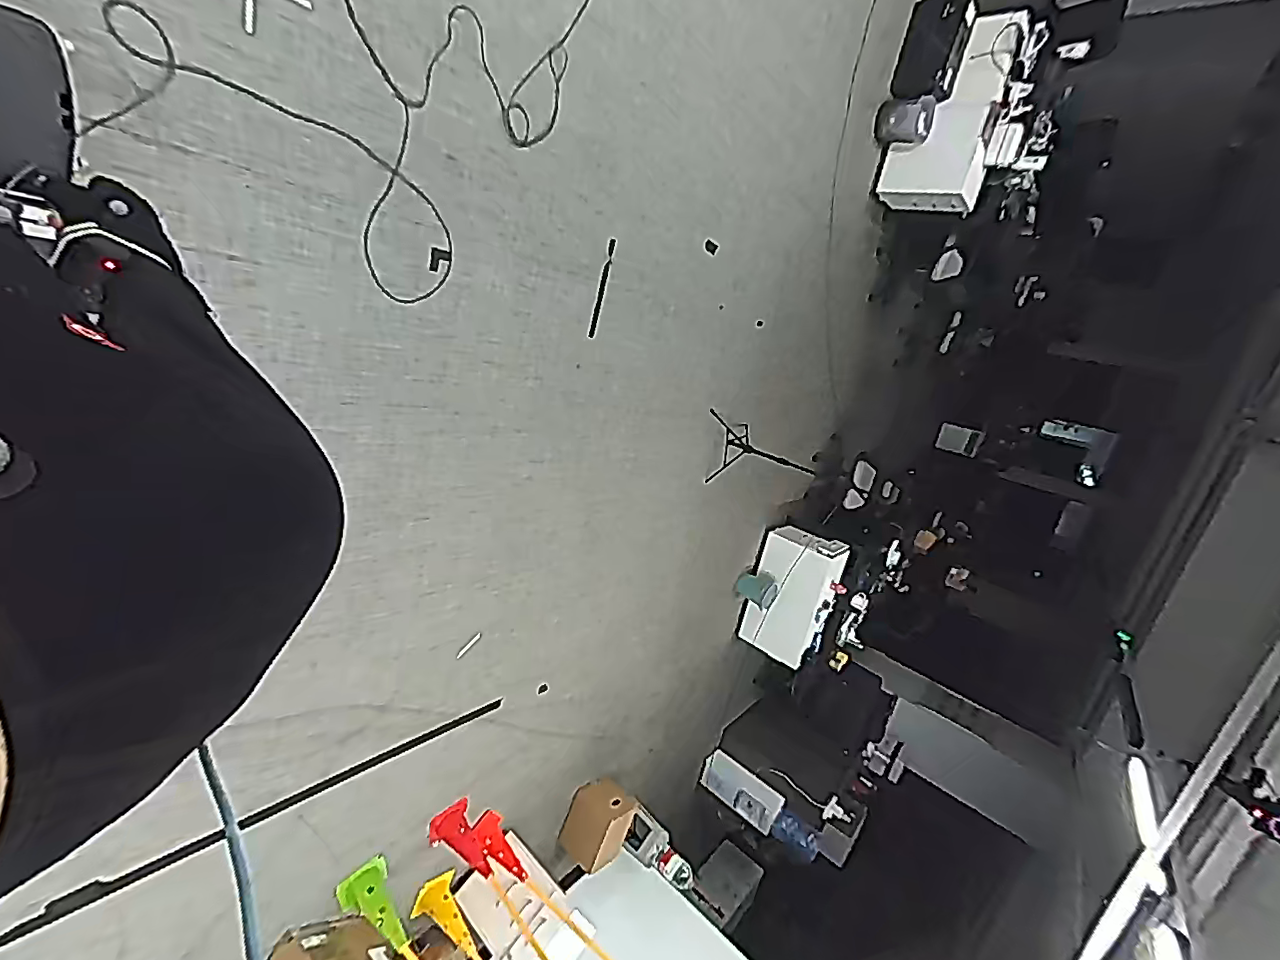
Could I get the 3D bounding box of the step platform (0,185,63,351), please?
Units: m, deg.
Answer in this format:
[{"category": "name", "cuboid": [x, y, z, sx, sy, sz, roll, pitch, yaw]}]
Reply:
[{"category": "step platform", "cuboid": [-1.343, -0.367, 0.790, 0.684, 0.204, 0.286, -7, 116, -49]}]
